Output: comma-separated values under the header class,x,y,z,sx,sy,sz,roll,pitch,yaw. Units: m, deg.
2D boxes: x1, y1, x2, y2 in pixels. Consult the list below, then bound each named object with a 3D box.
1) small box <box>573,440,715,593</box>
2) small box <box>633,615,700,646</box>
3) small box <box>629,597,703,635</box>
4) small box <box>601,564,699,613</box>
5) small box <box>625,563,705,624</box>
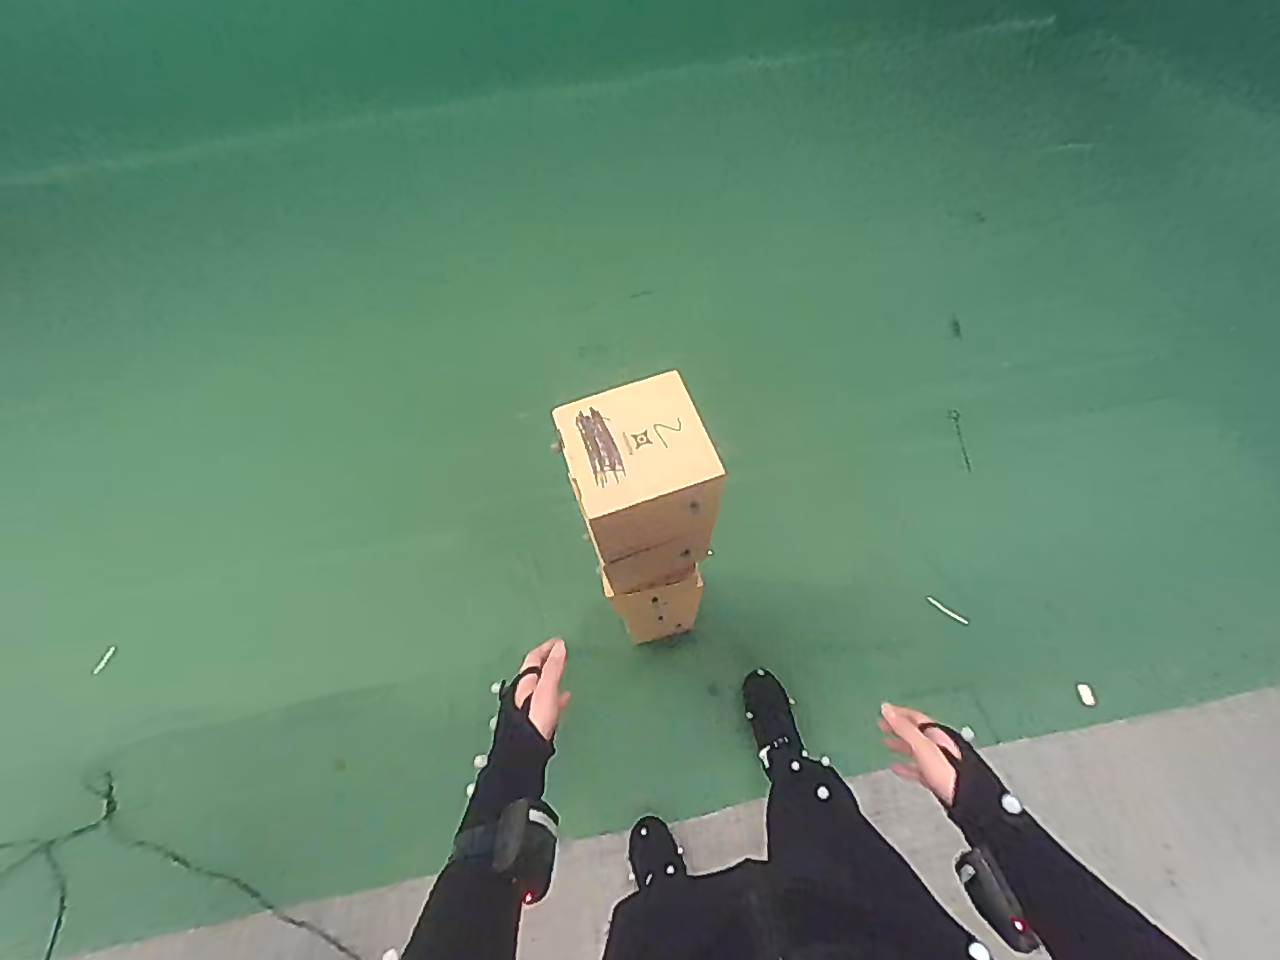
class,x,y,z,sx,sy,sz,roll,pitch,yaw
small box,0.007,0.066,0.886,0.179,0.176,0.168,-20,64,-5
small box,0.053,0.341,1.475,0.179,0.176,0.168,-14,64,-4
small box,0.047,0.271,1.329,0.179,0.176,0.168,-13,65,-3
small box,0.013,0.146,1.028,0.168,0.176,0.179,-12,65,-2
small box,0.033,0.203,1.181,0.179,0.176,0.168,-15,65,-5
